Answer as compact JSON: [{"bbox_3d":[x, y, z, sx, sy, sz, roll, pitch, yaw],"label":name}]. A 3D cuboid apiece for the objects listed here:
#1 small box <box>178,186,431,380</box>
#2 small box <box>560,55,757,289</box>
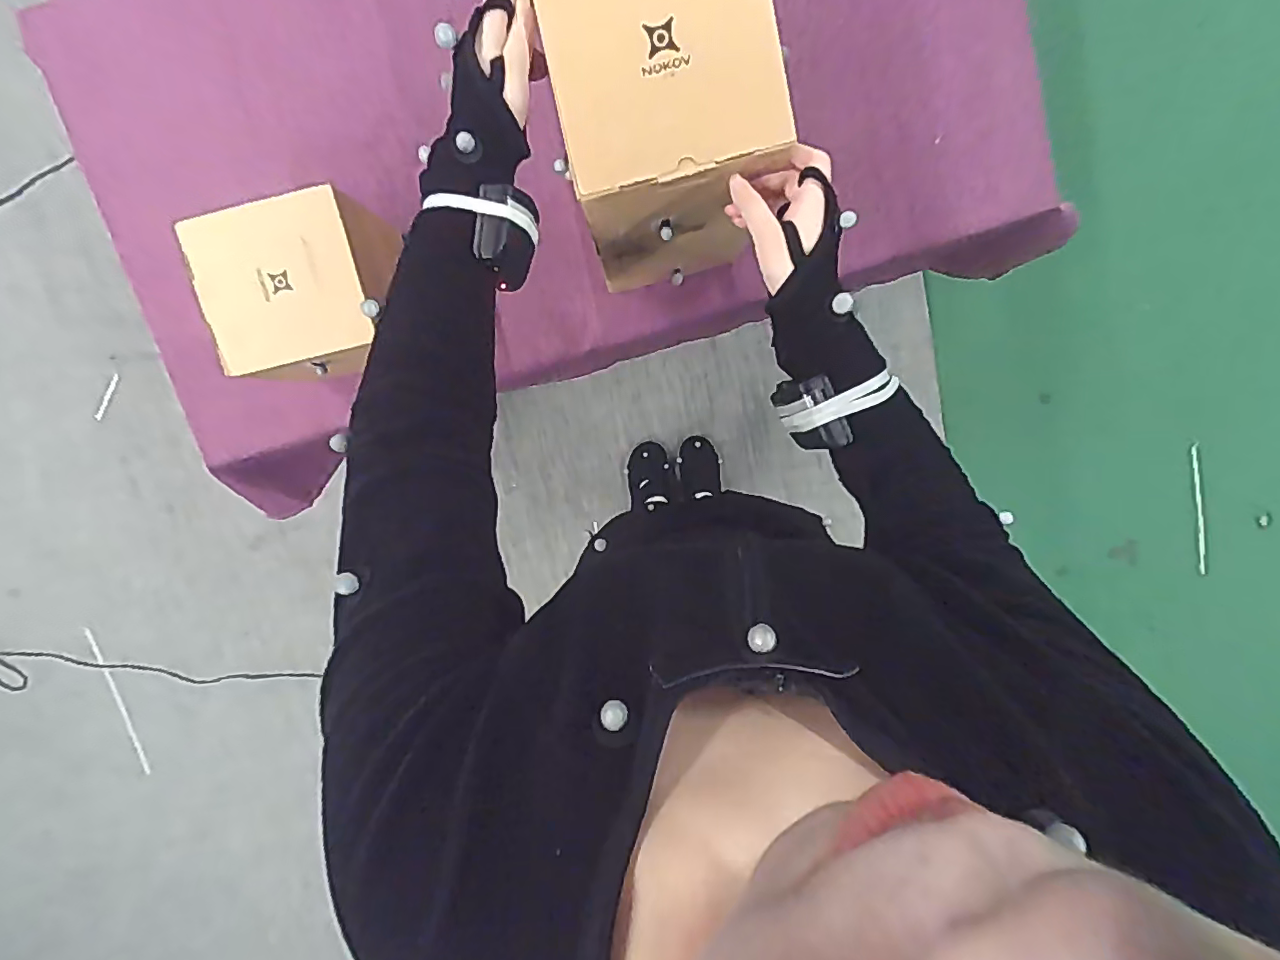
[{"bbox_3d":[-0.384,-0.220,0.653,0.179,0.176,0.168,-13,99,2],"label":"small box"},{"bbox_3d":[0.020,-0.339,0.632,0.179,0.176,0.168,-14,98,2],"label":"small box"}]
